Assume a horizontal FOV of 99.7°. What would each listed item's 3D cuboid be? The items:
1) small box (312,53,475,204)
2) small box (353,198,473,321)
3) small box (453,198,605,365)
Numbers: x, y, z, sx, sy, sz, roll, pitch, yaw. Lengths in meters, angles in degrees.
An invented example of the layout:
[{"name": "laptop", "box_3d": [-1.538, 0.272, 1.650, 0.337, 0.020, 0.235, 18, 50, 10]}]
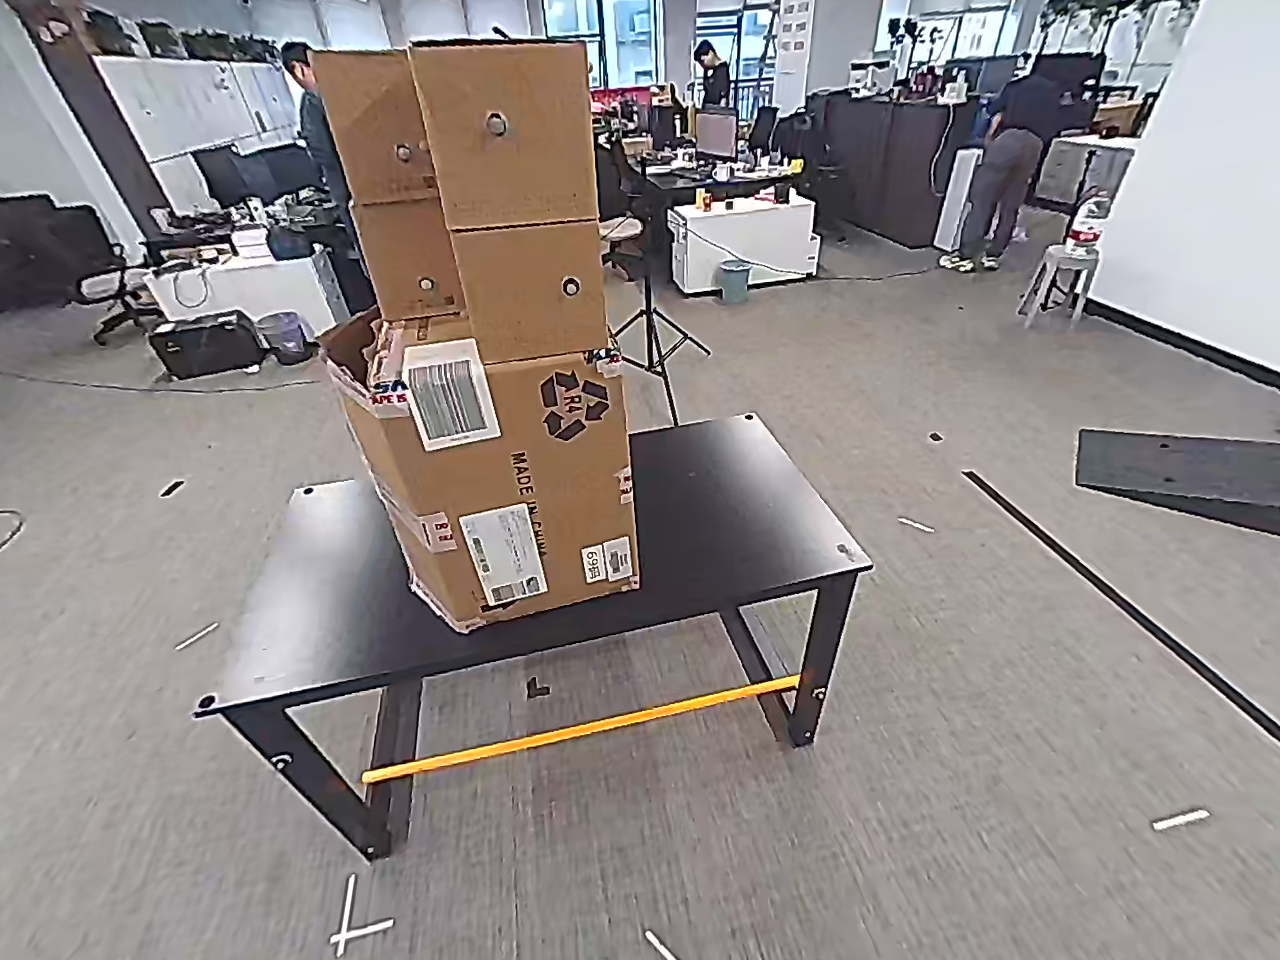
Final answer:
[{"name": "small box", "box_3d": [-0.344, -0.504, 0.782, 0.168, 0.176, 0.179, -14, 37, -14]}, {"name": "small box", "box_3d": [-0.347, -0.373, 0.884, 0.168, 0.176, 0.179, -12, 37, -13]}, {"name": "small box", "box_3d": [-0.148, -0.275, 0.747, 0.179, 0.176, 0.168, -11, 38, -10]}]
